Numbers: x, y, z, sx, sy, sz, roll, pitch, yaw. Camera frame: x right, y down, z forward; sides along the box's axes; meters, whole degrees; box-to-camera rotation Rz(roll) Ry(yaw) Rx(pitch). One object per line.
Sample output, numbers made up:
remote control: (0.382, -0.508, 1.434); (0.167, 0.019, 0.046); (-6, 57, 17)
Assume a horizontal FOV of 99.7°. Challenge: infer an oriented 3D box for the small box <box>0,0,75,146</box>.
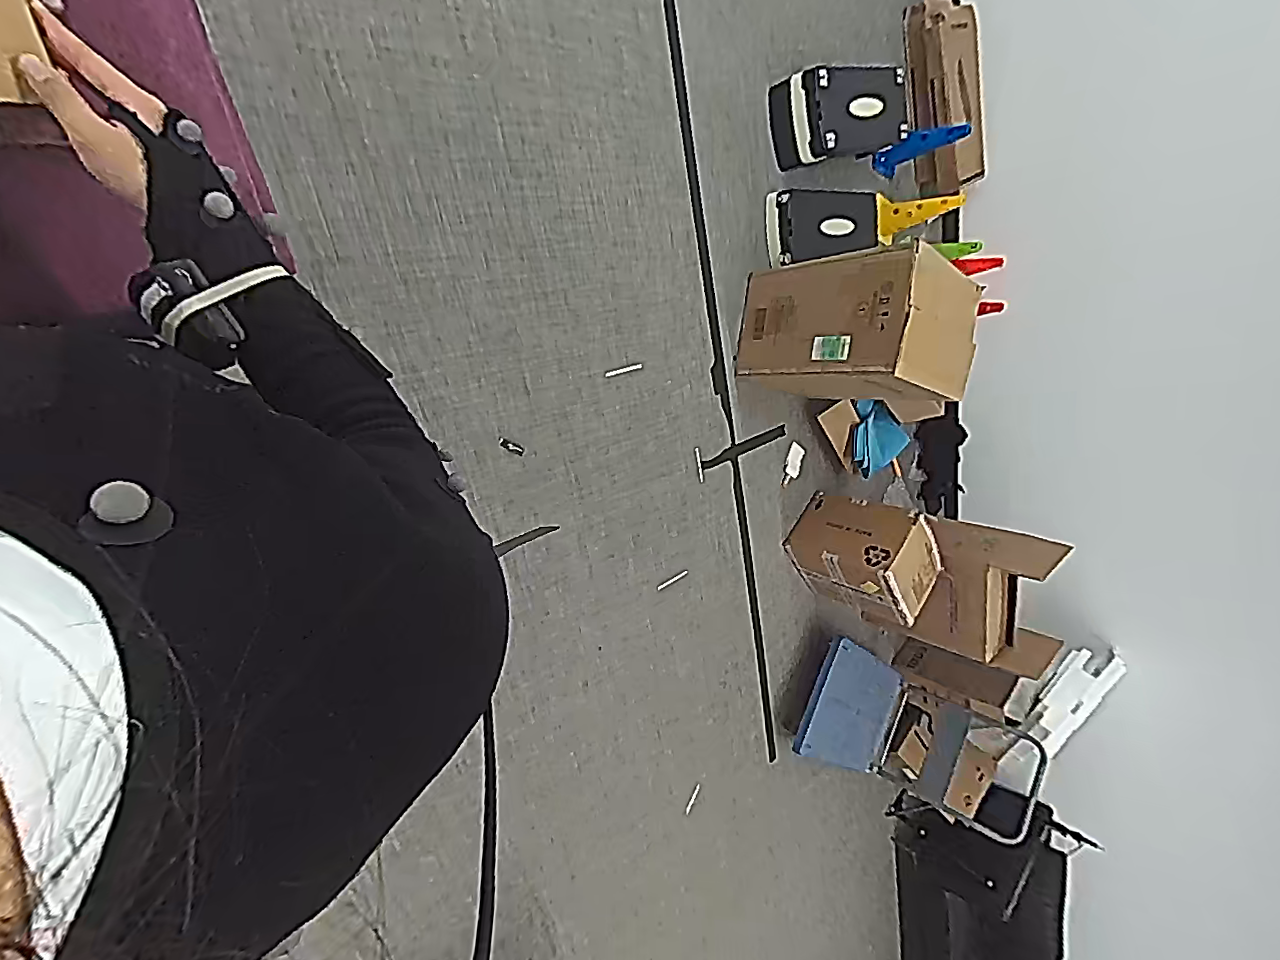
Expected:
small box: (-0.484, -0.307, 0.320); (0.179, 0.176, 0.168); (-21, 120, -35)
